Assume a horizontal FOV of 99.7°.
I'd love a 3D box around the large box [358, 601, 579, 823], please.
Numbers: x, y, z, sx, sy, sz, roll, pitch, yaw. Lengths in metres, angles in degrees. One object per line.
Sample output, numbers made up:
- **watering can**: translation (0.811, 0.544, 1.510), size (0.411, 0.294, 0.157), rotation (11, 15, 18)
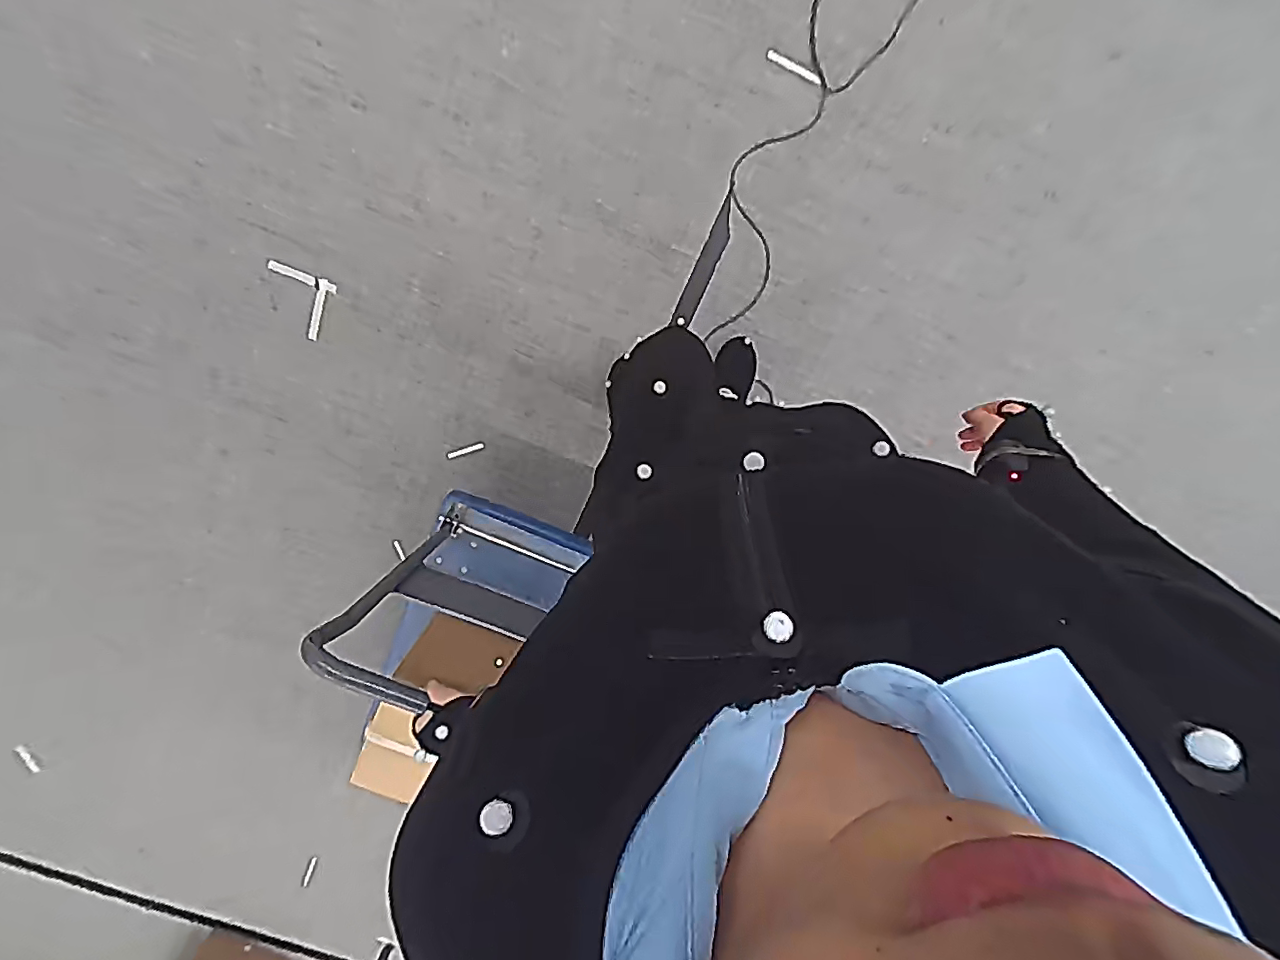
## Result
- **large box**: translation (-0.407, 0.566, 1.363), size (0.408, 0.320, 0.320), rotation (24, 106, -7)
